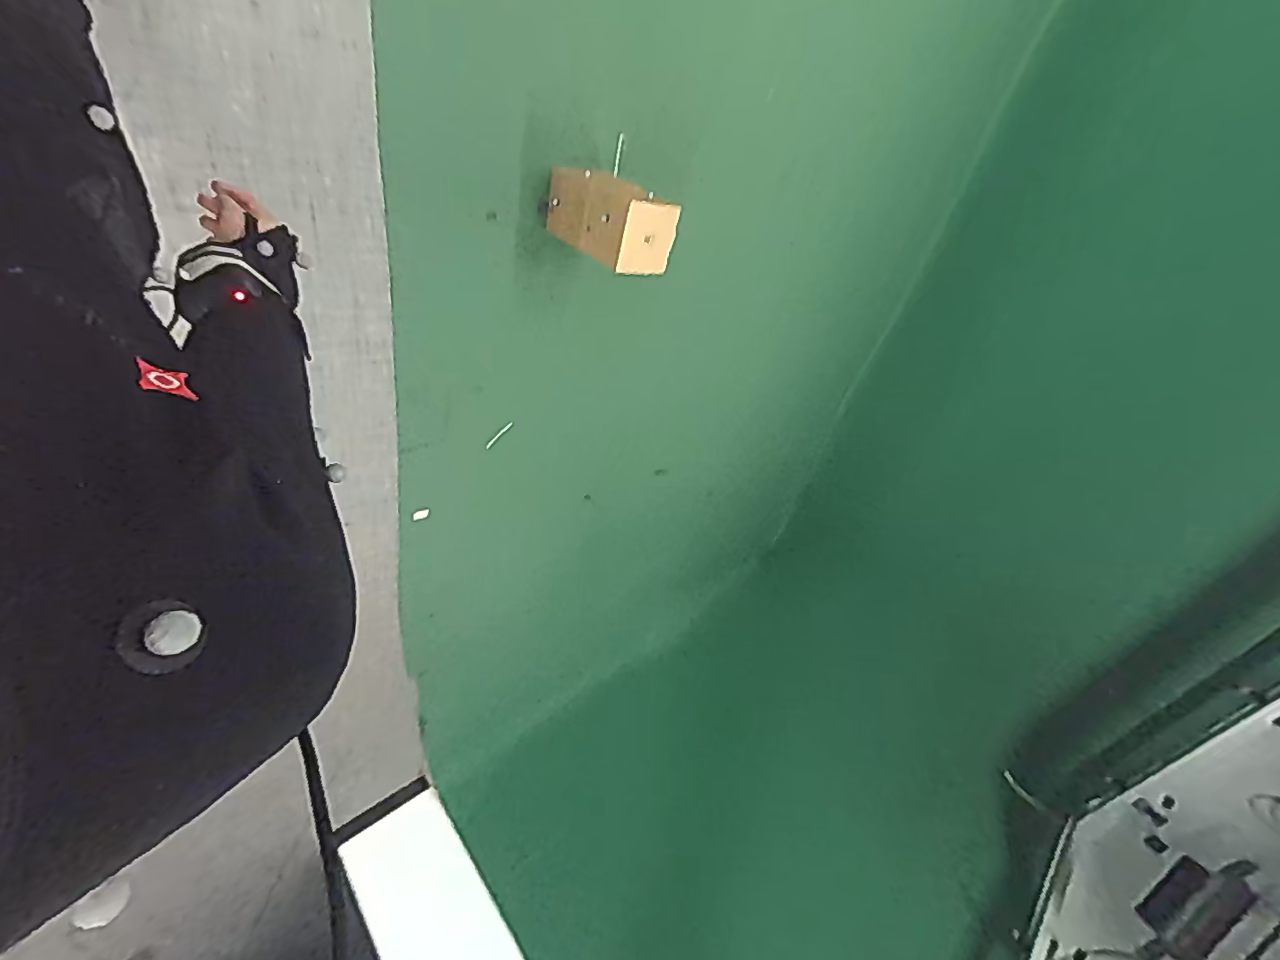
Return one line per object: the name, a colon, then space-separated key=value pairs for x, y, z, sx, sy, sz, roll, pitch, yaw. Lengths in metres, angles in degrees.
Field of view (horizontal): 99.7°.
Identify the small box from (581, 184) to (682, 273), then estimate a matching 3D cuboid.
small box: x=-0.029 y=-0.642 z=1.384 sx=0.179 sy=0.176 sz=0.168 roll=-18 pitch=137 yaw=-40
